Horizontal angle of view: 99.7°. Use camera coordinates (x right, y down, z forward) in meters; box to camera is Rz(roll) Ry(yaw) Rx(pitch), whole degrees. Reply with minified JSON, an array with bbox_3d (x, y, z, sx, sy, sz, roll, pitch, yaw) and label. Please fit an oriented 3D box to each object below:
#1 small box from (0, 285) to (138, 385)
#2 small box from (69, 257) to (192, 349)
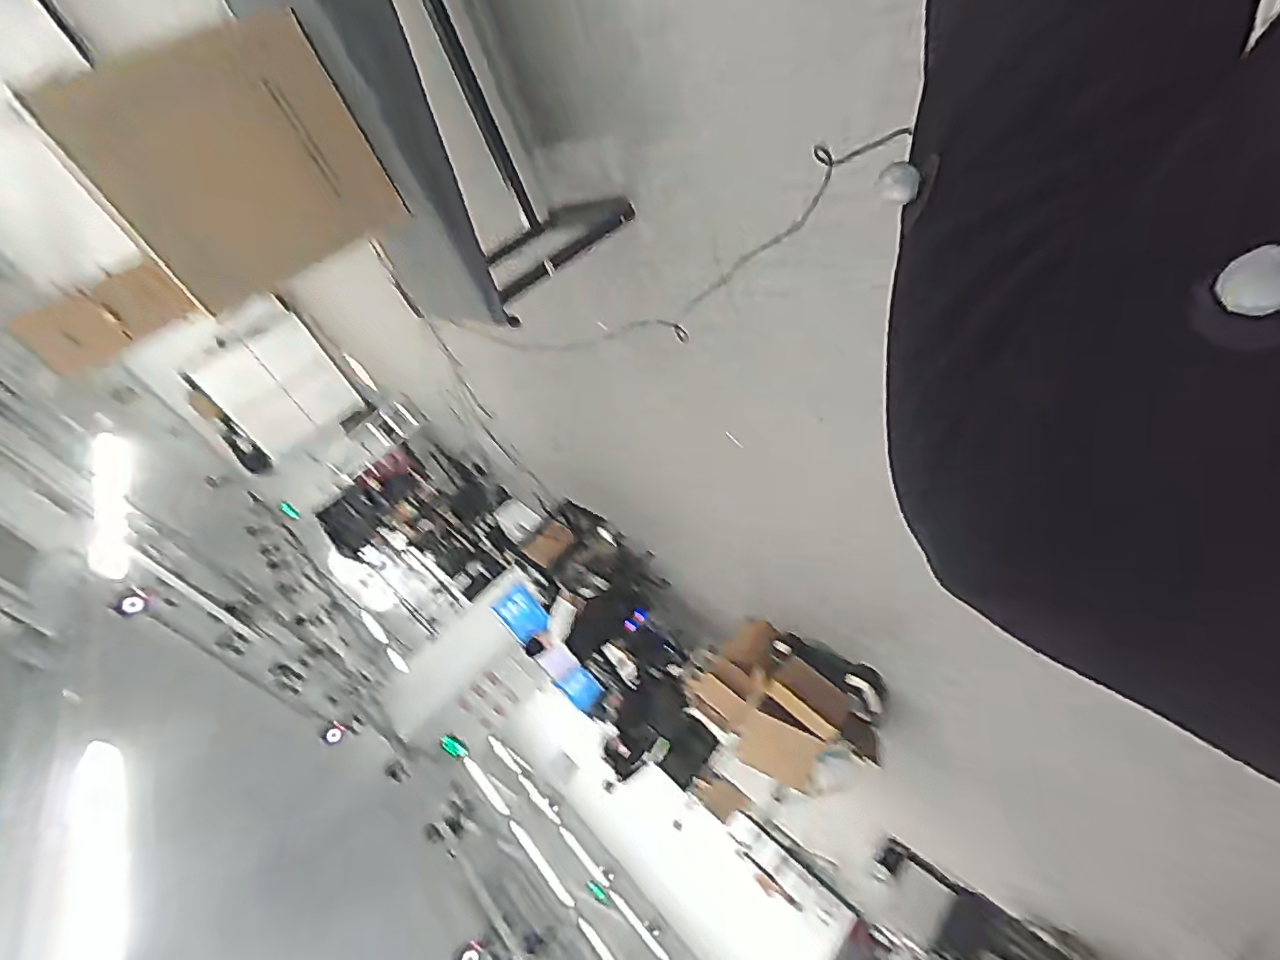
[{"bbox_3d":[-1.397,-0.361,1.325,0.168,0.176,0.179,20,146,43],"label":"small box"},{"bbox_3d":[-1.305,-0.457,1.391,0.179,0.176,0.168,19,145,42],"label":"small box"}]
